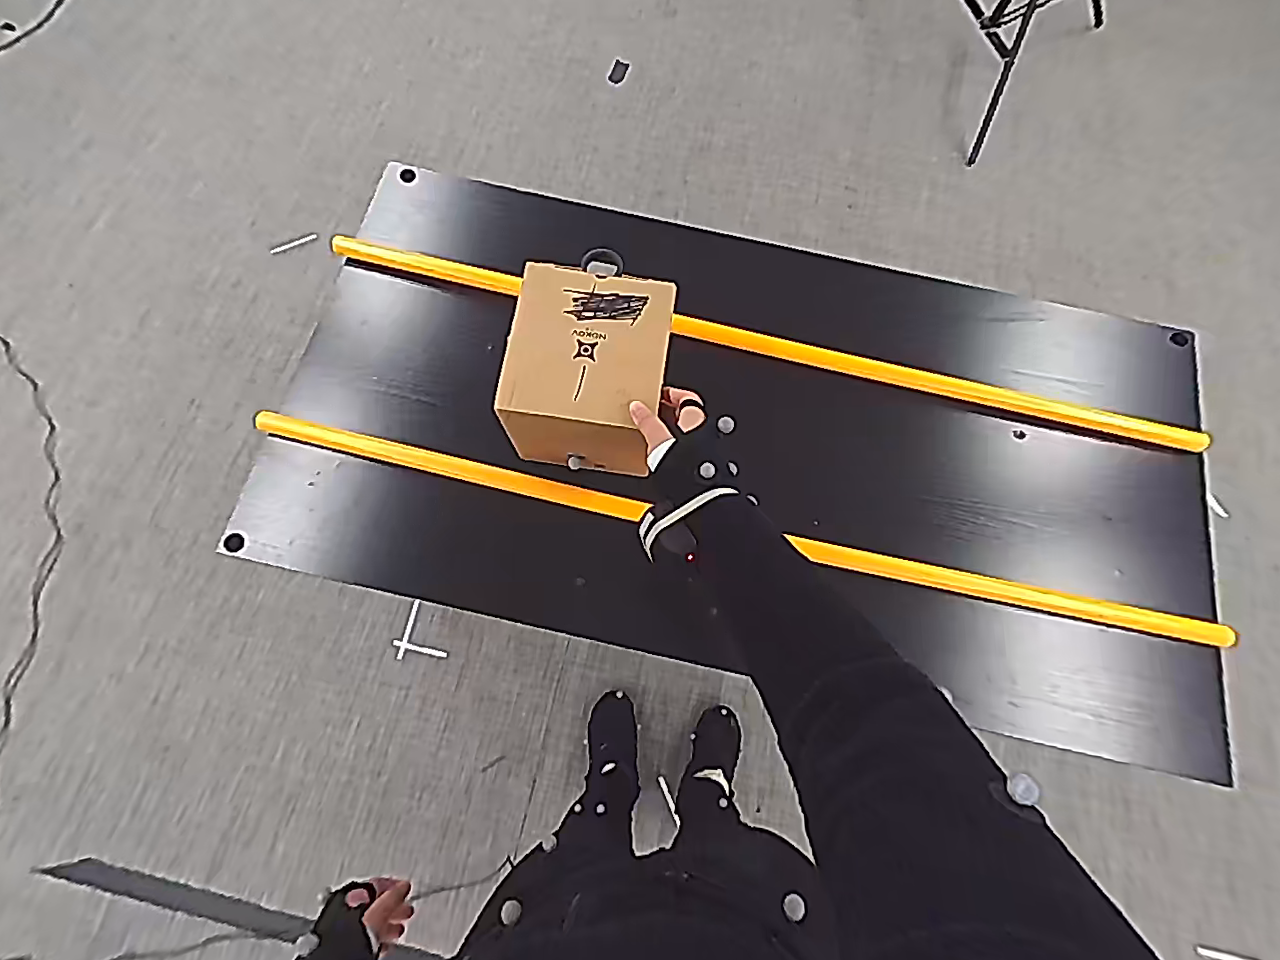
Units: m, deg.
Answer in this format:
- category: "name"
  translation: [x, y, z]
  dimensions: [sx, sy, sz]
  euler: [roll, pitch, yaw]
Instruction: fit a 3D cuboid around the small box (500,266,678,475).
- category: "small box"
  translation: [-0.054, -0.120, 0.647]
  dimensions: [0.168, 0.176, 0.179]
  euler: [8, 75, 0]
